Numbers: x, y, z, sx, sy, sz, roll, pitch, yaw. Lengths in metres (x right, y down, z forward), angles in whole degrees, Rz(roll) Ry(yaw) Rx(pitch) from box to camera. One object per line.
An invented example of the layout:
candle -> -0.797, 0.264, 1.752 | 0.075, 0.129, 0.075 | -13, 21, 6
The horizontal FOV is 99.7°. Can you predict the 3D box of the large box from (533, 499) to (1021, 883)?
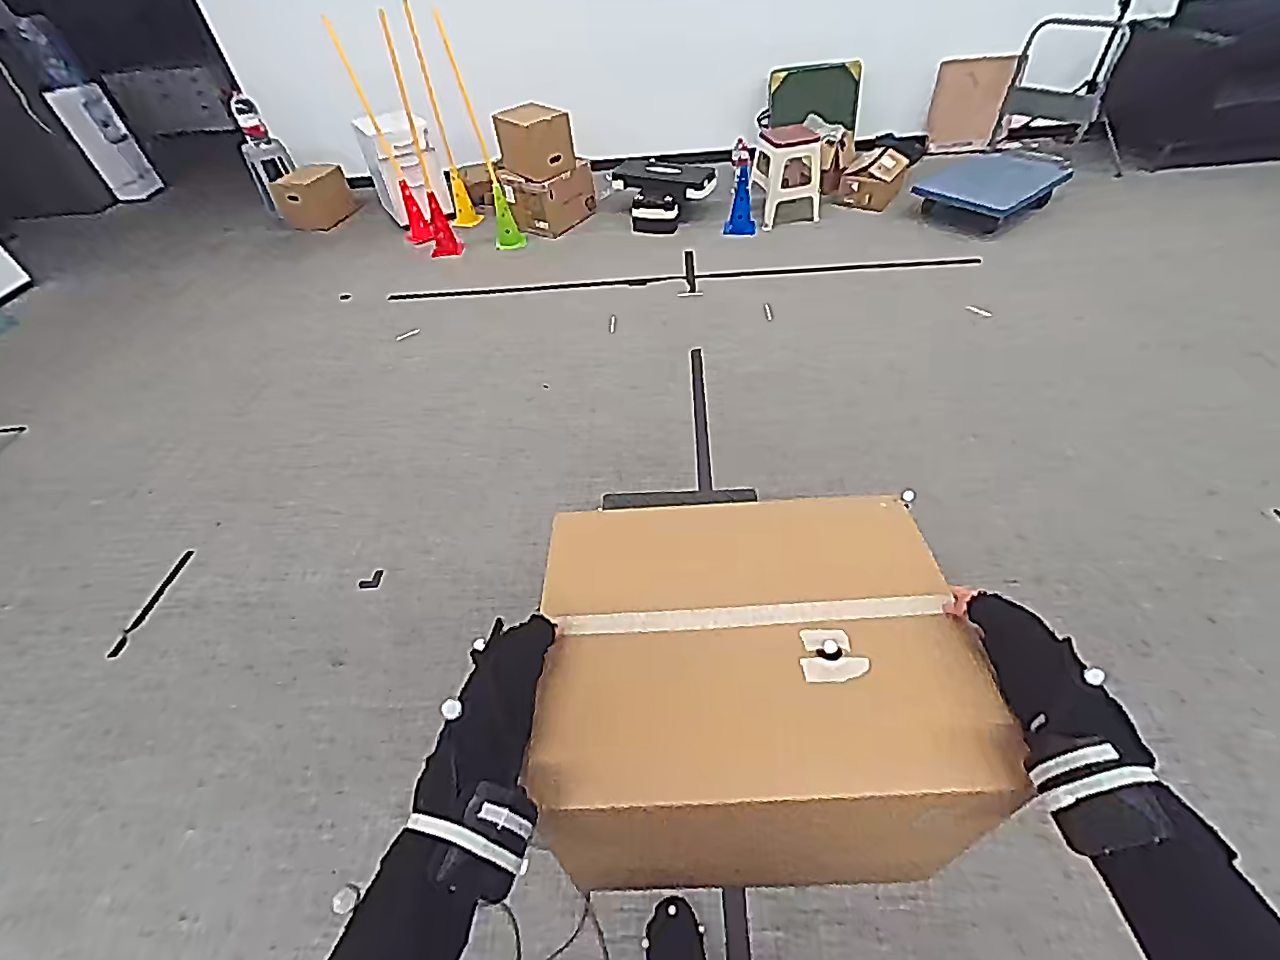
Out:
large box -> 0.112, 0.248, 0.641 | 0.408, 0.320, 0.320 | -4, 43, 2
